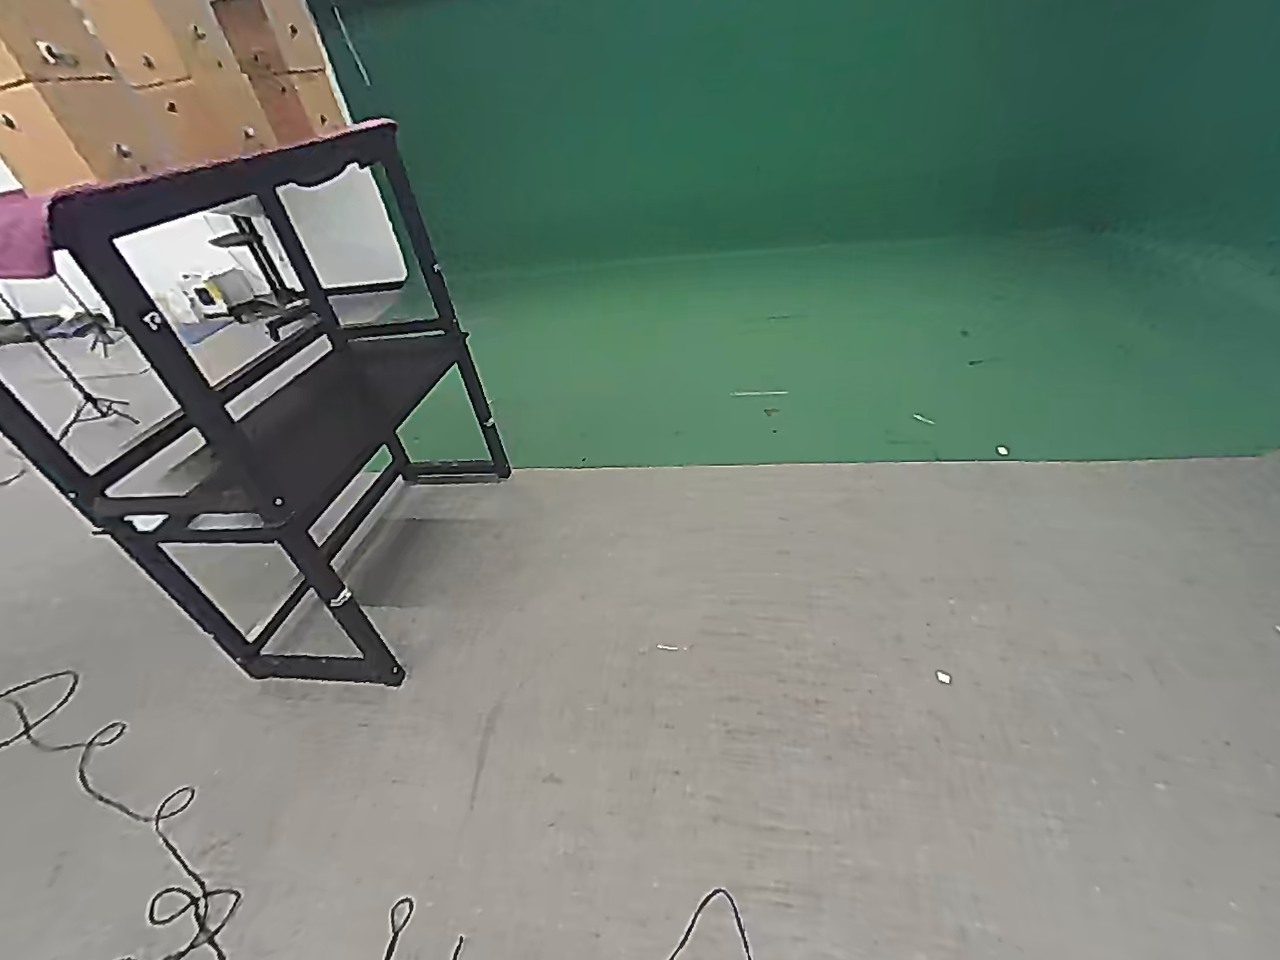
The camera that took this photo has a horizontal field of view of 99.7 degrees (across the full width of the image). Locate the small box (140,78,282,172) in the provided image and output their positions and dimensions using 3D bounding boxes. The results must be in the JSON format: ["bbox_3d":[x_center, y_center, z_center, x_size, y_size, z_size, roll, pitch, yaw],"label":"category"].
[{"bbox_3d":[-1.040,-0.870,1.327,0.179,0.176,0.168,0,39,11],"label":"small box"}]

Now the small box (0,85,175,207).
[{"bbox_3d":[-1.071,-0.637,1.036,0.179,0.176,0.168,-2,39,11],"label":"small box"}]

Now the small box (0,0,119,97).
[{"bbox_3d":[-1.094,-0.765,0.939,0.179,0.176,0.168,-1,40,12],"label":"small box"}]

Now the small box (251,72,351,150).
[{"bbox_3d":[-1.001,-1.082,1.588,0.179,0.176,0.168,1,40,11],"label":"small box"}]

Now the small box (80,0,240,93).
[{"bbox_3d":[-1.073,-0.998,1.229,0.179,0.176,0.168,0,39,11],"label":"small box"}]
